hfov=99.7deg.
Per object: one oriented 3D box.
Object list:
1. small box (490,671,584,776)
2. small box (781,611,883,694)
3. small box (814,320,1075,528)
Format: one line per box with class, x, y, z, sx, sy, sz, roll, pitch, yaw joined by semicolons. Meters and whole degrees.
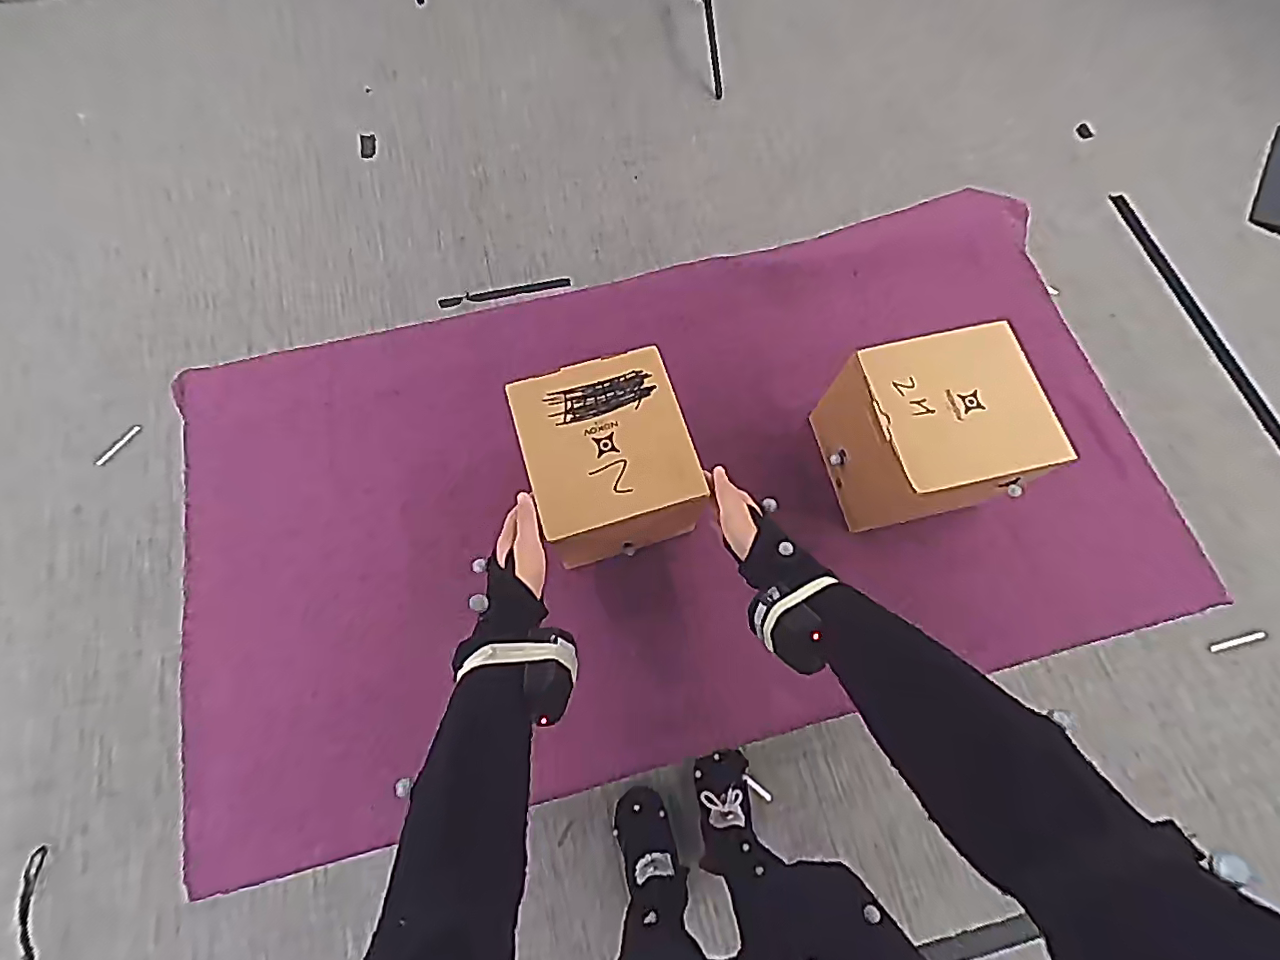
small box;-0.224;0.531;1.198;0.168;0.176;0.179;-12;71;-4
small box;0.434;0.394;1.246;0.179;0.176;0.168;2;72;1
small box;0.328;-0.054;0.623;0.179;0.176;0.168;-12;71;-3
